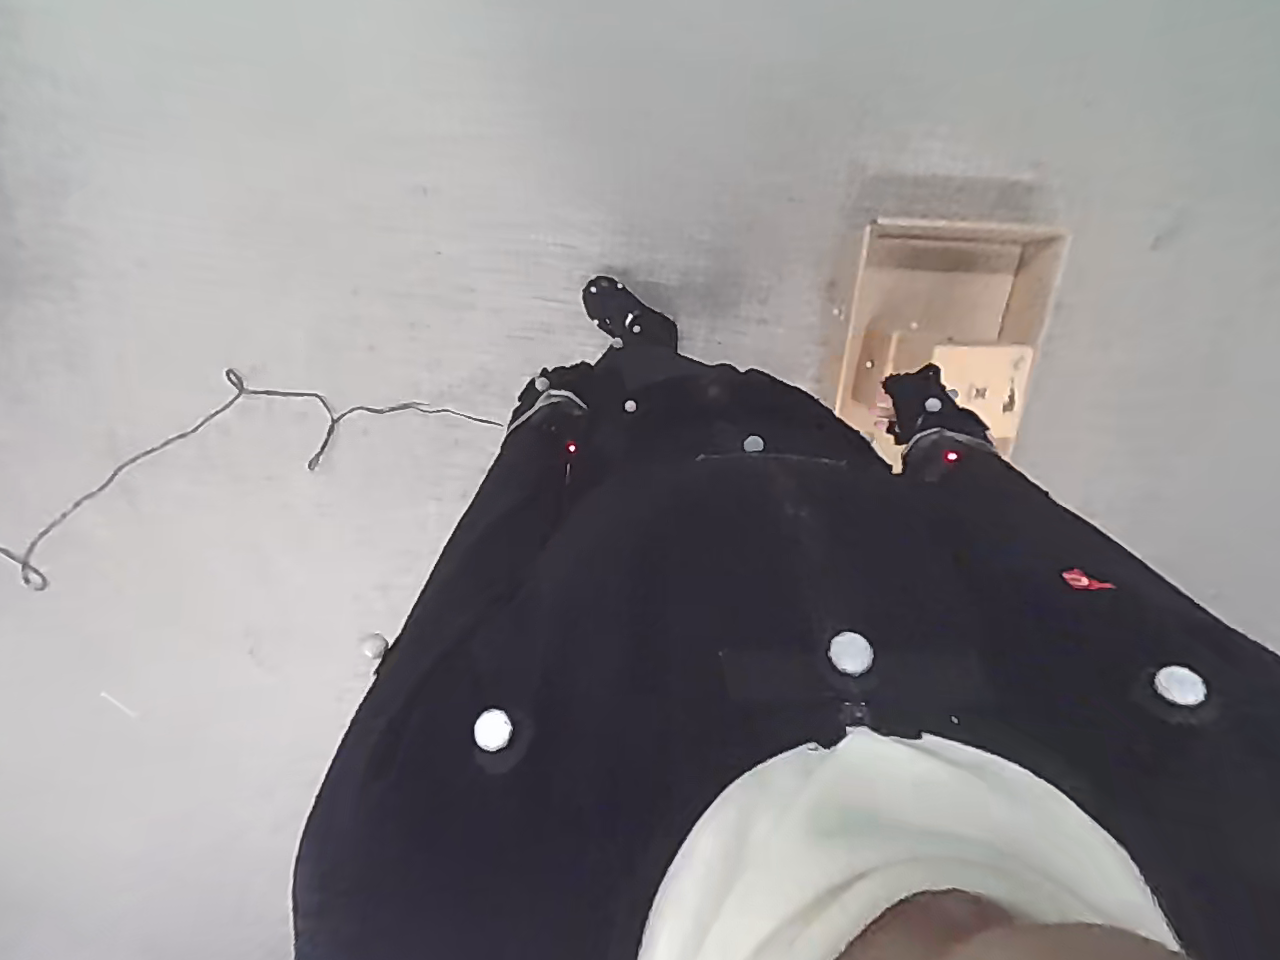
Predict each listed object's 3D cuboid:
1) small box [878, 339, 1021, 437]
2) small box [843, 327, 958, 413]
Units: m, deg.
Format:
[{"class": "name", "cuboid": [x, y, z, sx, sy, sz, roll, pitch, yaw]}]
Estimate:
[{"class": "small box", "cuboid": [0.594, -0.186, 1.065, 0.179, 0.176, 0.168, 2, 109, 1]}, {"class": "small box", "cuboid": [0.580, -0.249, 1.233, 0.168, 0.176, 0.179, 5, 108, -1]}]
